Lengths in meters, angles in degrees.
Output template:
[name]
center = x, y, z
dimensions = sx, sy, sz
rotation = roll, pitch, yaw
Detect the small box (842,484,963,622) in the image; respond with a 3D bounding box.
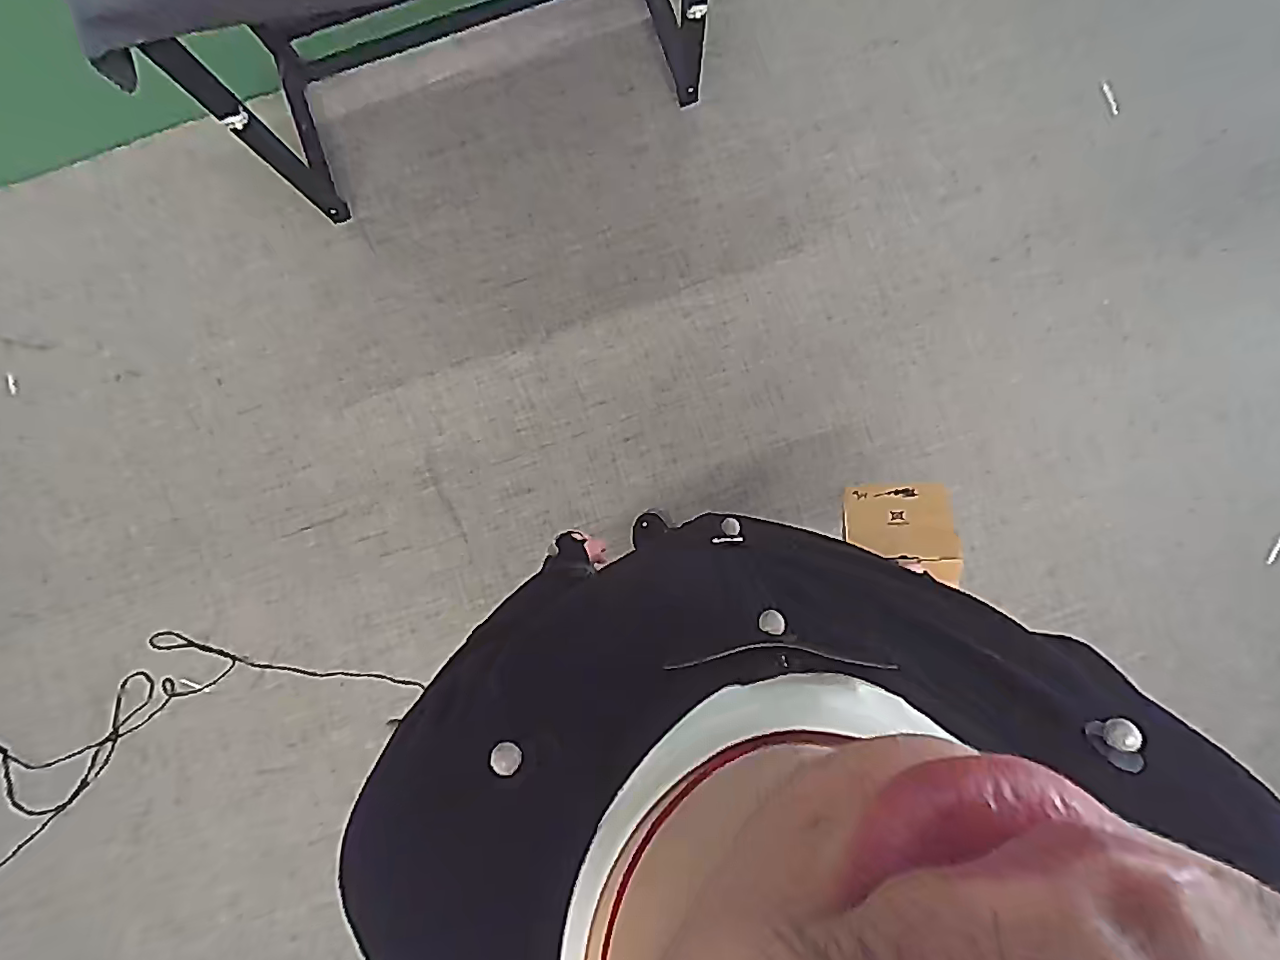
[small box]
center = 0.451, 0.132, 0.947
dimensions = 0.168, 0.179, 0.176
rotation = -5, 129, 19
